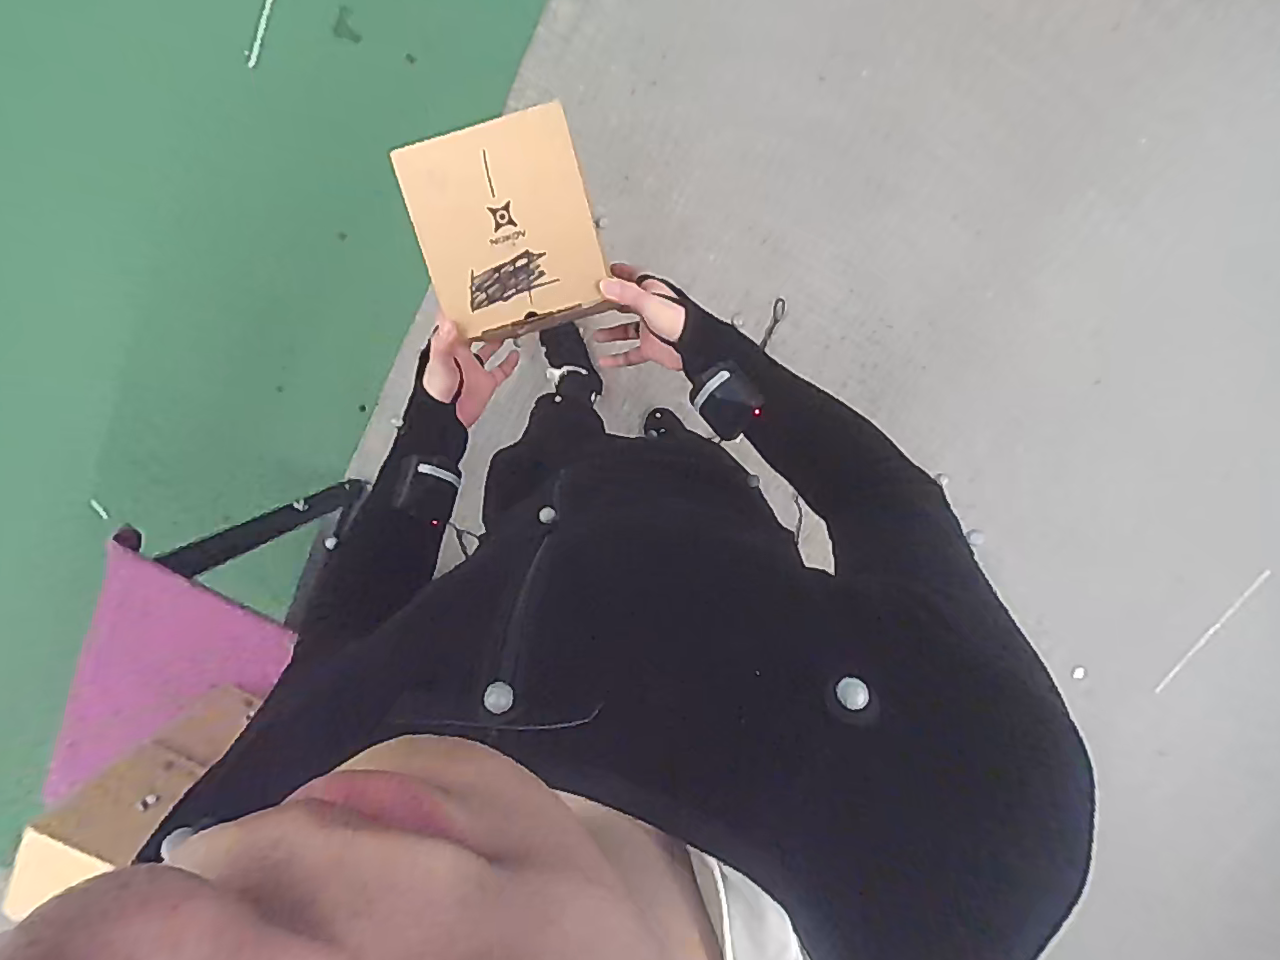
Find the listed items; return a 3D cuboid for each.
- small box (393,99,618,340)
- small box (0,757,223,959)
[{"bbox_3d":[-0.121,-0.254,0.572,0.168,0.176,0.179,-13,103,3],"label":"small box"},{"bbox_3d":[-0.770,0.555,0.796,0.168,0.176,0.179,29,104,-4],"label":"small box"}]
